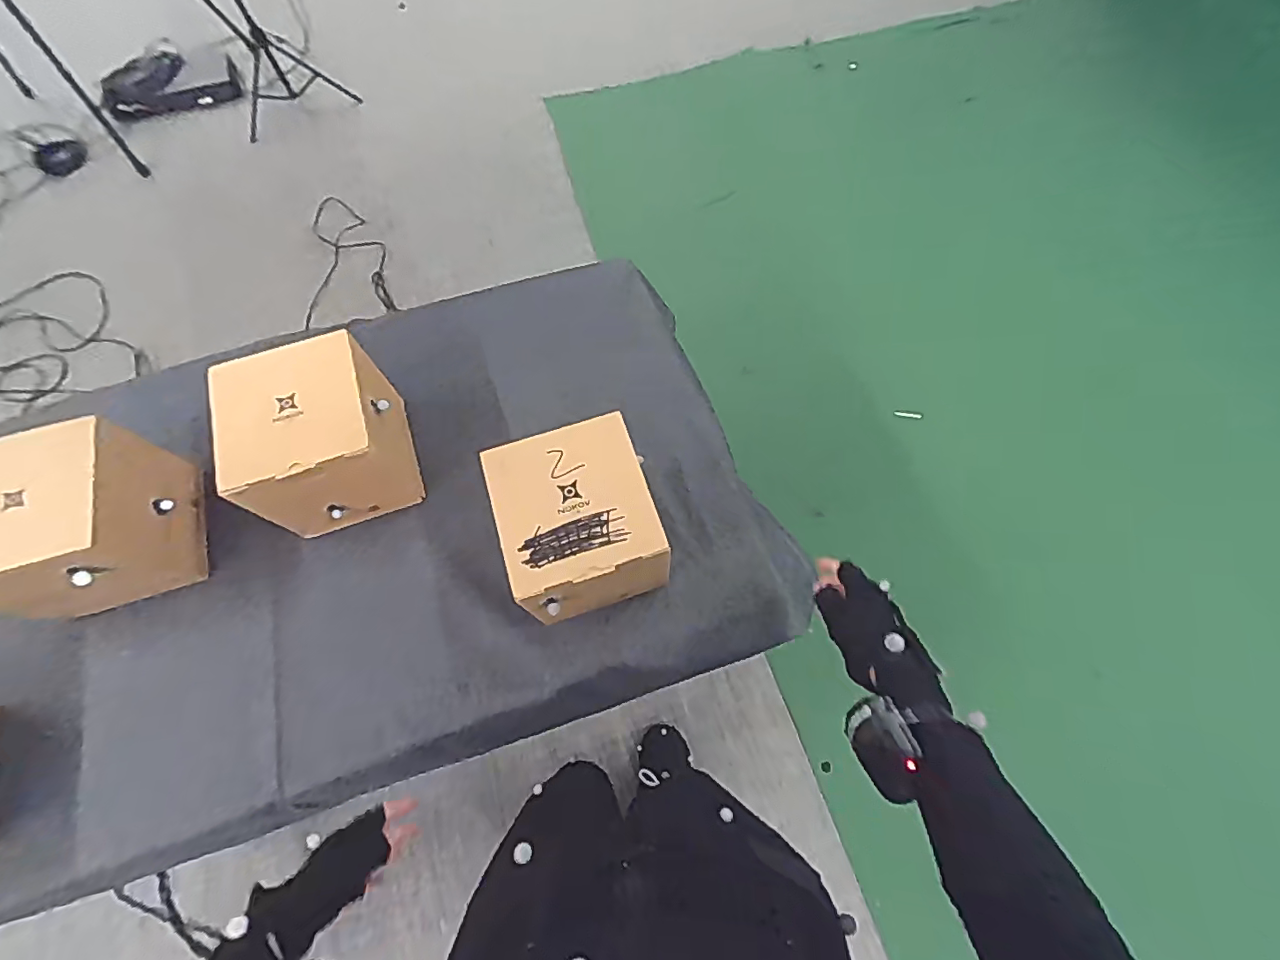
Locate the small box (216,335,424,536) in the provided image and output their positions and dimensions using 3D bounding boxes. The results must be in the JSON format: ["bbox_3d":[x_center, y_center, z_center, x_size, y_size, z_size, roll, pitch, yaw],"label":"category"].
[{"bbox_3d":[-0.402,-0.050,0.698,0.168,0.176,0.179,-18,69,-8],"label":"small box"}]

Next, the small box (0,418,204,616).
[{"bbox_3d":[-0.668,0.053,0.651,0.179,0.176,0.168,-17,69,-7],"label":"small box"}]
